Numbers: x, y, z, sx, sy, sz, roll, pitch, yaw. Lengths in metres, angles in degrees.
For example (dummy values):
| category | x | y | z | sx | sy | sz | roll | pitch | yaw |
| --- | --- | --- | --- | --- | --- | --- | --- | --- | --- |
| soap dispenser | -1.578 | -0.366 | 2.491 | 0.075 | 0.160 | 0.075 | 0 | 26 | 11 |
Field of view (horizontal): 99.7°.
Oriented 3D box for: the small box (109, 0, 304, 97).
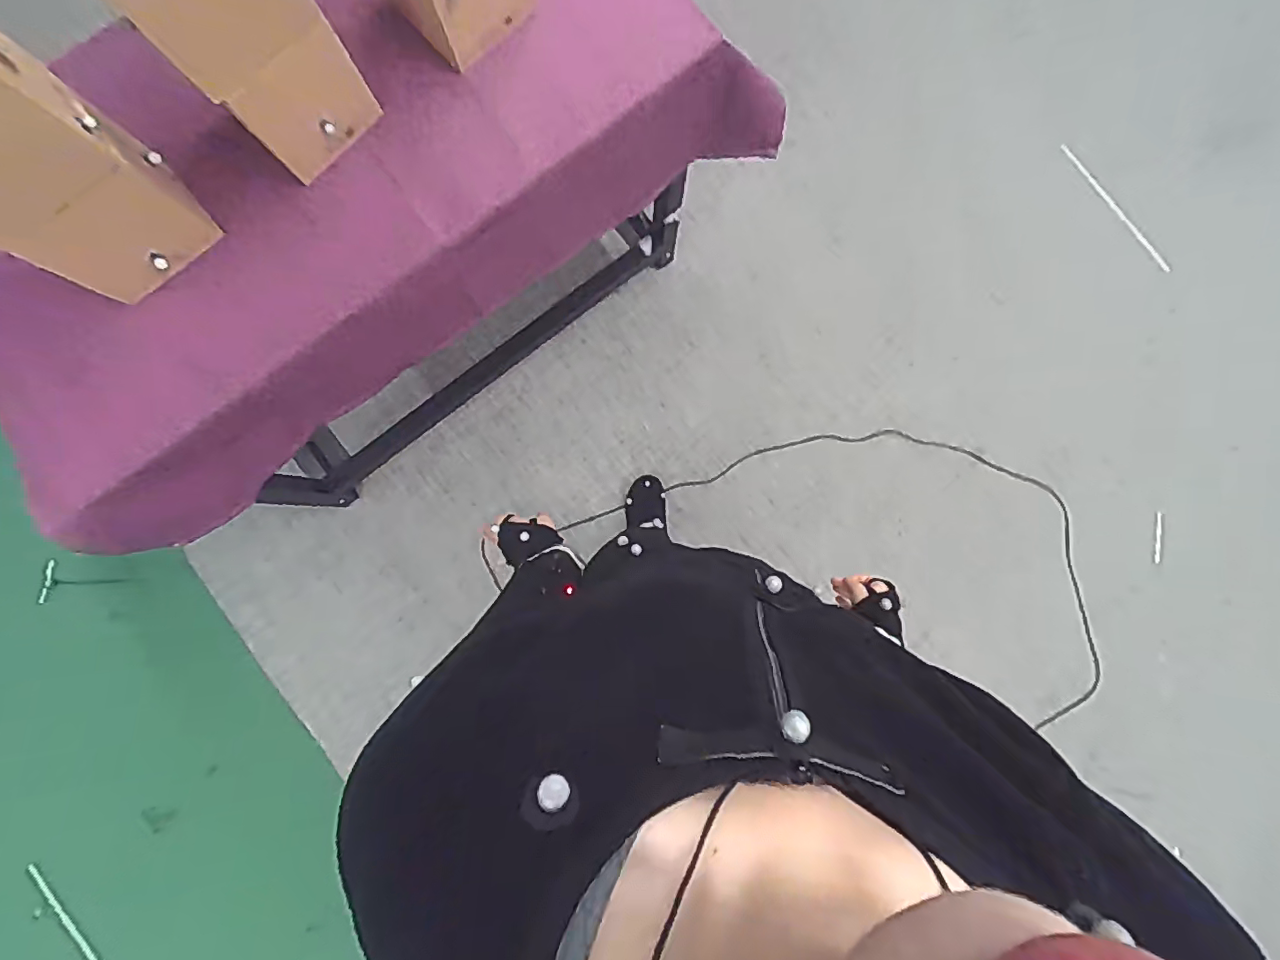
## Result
| category | x | y | z | sx | sy | sz | roll | pitch | yaw |
| --- | --- | --- | --- | --- | --- | --- | --- | --- | --- |
| small box | -0.512 | -0.584 | 0.590 | 0.179 | 0.176 | 0.168 | -43 | 87 | -3 |

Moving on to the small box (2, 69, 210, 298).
| category | x | y | z | sx | sy | sz | roll | pitch | yaw |
| --- | --- | --- | --- | --- | --- | --- | --- | --- | --- |
| small box | -0.744 | -0.387 | 0.736 | 0.179 | 0.176 | 0.168 | -40 | 87 | -3 |

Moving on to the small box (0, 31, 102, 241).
| category | x | y | z | sx | sy | sz | roll | pitch | yaw |
| --- | --- | --- | --- | --- | --- | --- | --- | --- | --- |
| small box | -0.741 | -0.399 | 0.573 | 0.179 | 0.176 | 0.168 | -40 | 88 | -2 |

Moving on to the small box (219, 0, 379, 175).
| category | x | y | z | sx | sy | sz | roll | pitch | yaw |
| --- | --- | --- | --- | --- | --- | --- | --- | --- | --- |
| small box | -0.513 | -0.577 | 0.753 | 0.179 | 0.176 | 0.168 | 45 | 87 | 2 |
